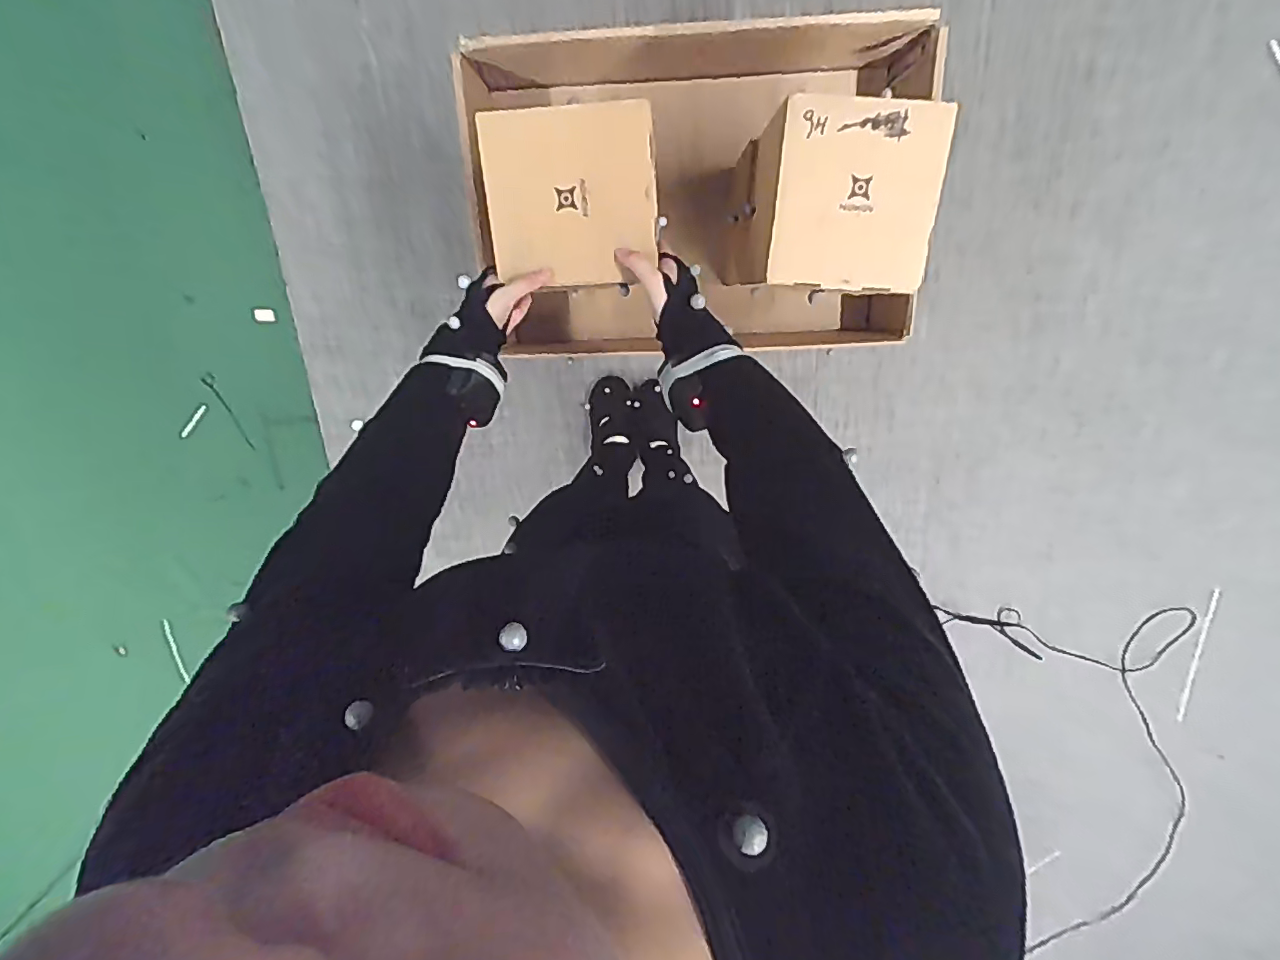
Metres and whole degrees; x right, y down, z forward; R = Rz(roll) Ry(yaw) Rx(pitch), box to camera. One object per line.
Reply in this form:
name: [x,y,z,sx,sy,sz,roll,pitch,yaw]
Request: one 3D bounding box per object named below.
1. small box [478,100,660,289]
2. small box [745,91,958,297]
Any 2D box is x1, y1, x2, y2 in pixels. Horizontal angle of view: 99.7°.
small box: [-0.067,-0.315,0.631,0.179,0.176,0.168,-3,109,3]
small box: [0.220,-0.312,0.621,0.168,0.176,0.179,5,111,0]
